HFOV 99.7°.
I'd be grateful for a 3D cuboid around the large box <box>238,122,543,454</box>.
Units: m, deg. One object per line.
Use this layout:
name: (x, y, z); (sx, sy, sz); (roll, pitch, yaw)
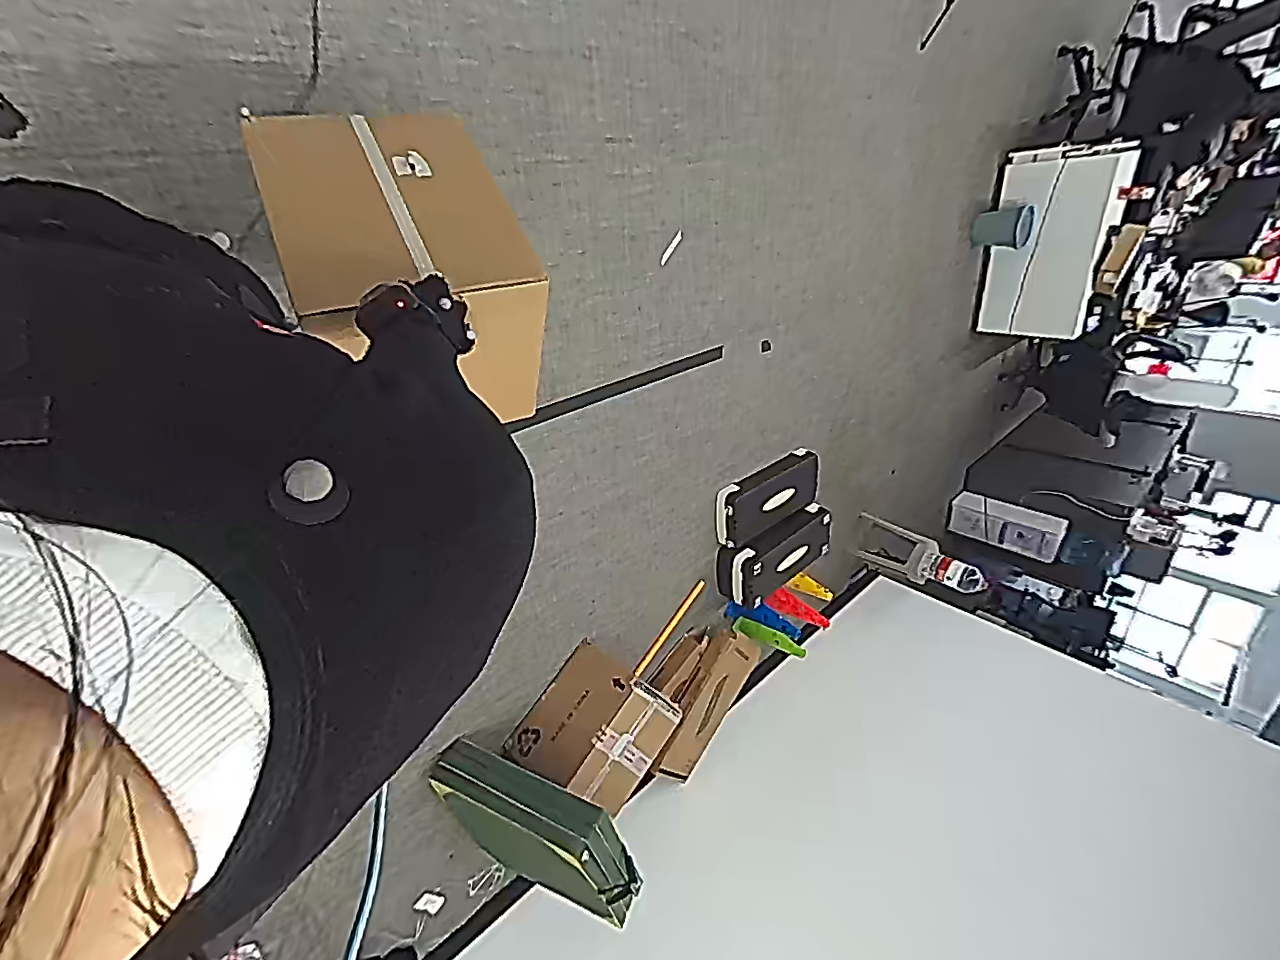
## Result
large box: (-0.390, -0.316, 0.894); (0.320, 0.408, 0.320); (-19, 155, -26)
